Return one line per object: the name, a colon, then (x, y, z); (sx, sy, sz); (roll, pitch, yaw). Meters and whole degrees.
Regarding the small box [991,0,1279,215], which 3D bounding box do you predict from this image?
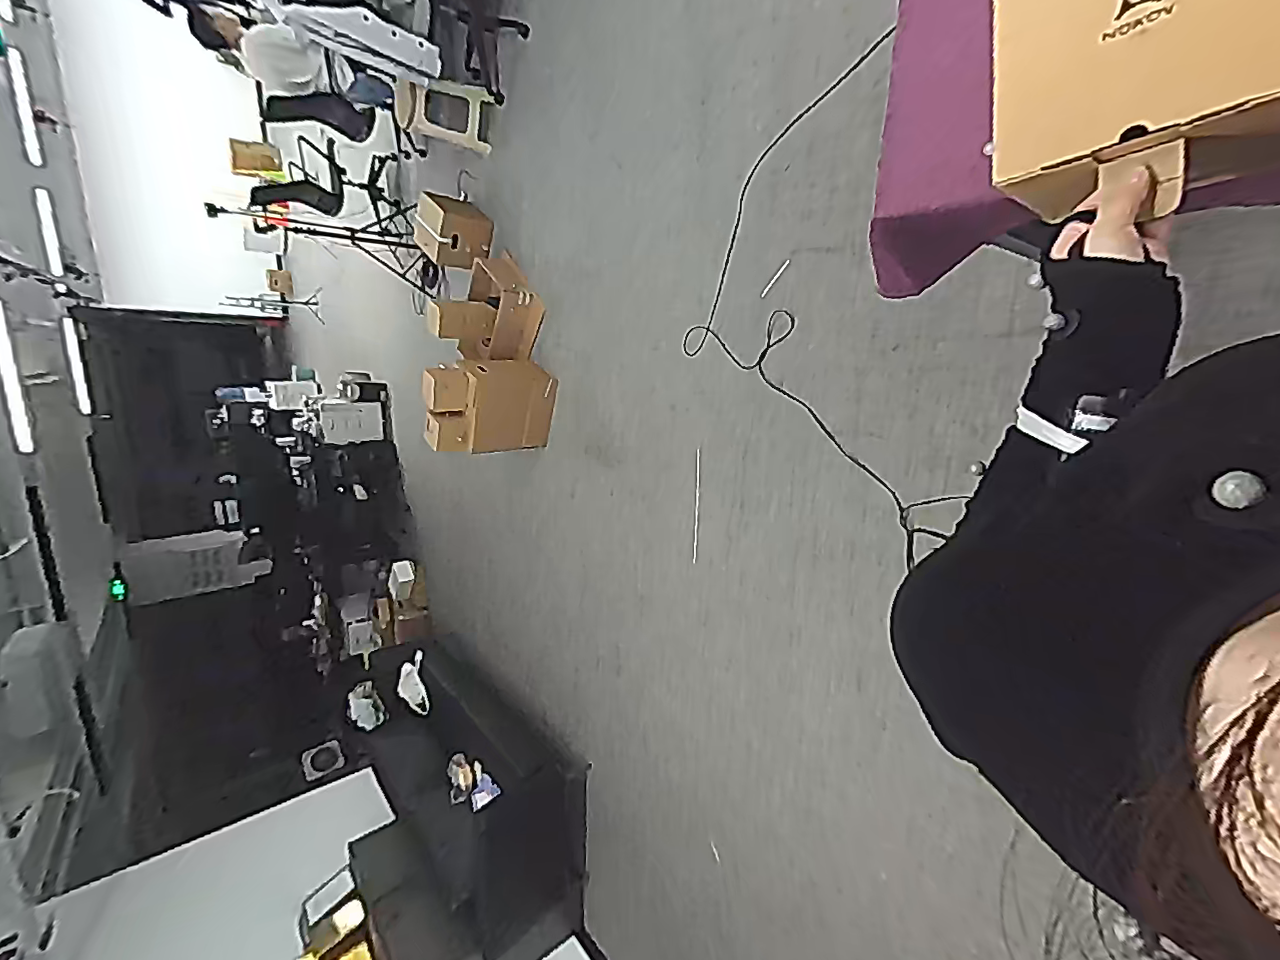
small box: (0.394, -0.333, 0.420); (0.168, 0.176, 0.179); (4, 101, 49)
